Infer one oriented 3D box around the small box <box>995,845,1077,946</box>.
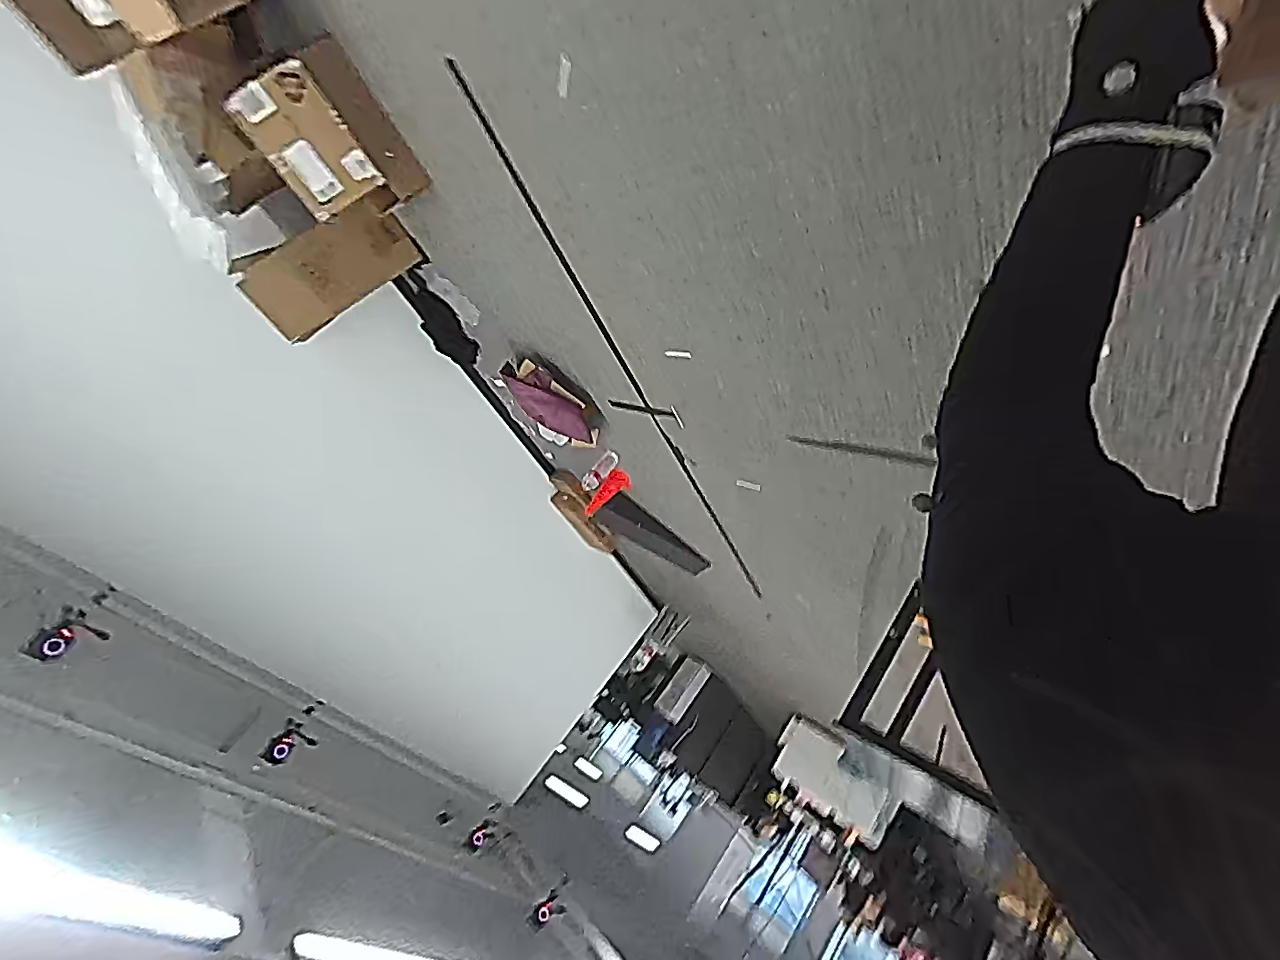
[{"bbox_3d":[1.232,1.287,1.680,0.168,0.176,0.179,18,149,46],"label":"small box"}]
